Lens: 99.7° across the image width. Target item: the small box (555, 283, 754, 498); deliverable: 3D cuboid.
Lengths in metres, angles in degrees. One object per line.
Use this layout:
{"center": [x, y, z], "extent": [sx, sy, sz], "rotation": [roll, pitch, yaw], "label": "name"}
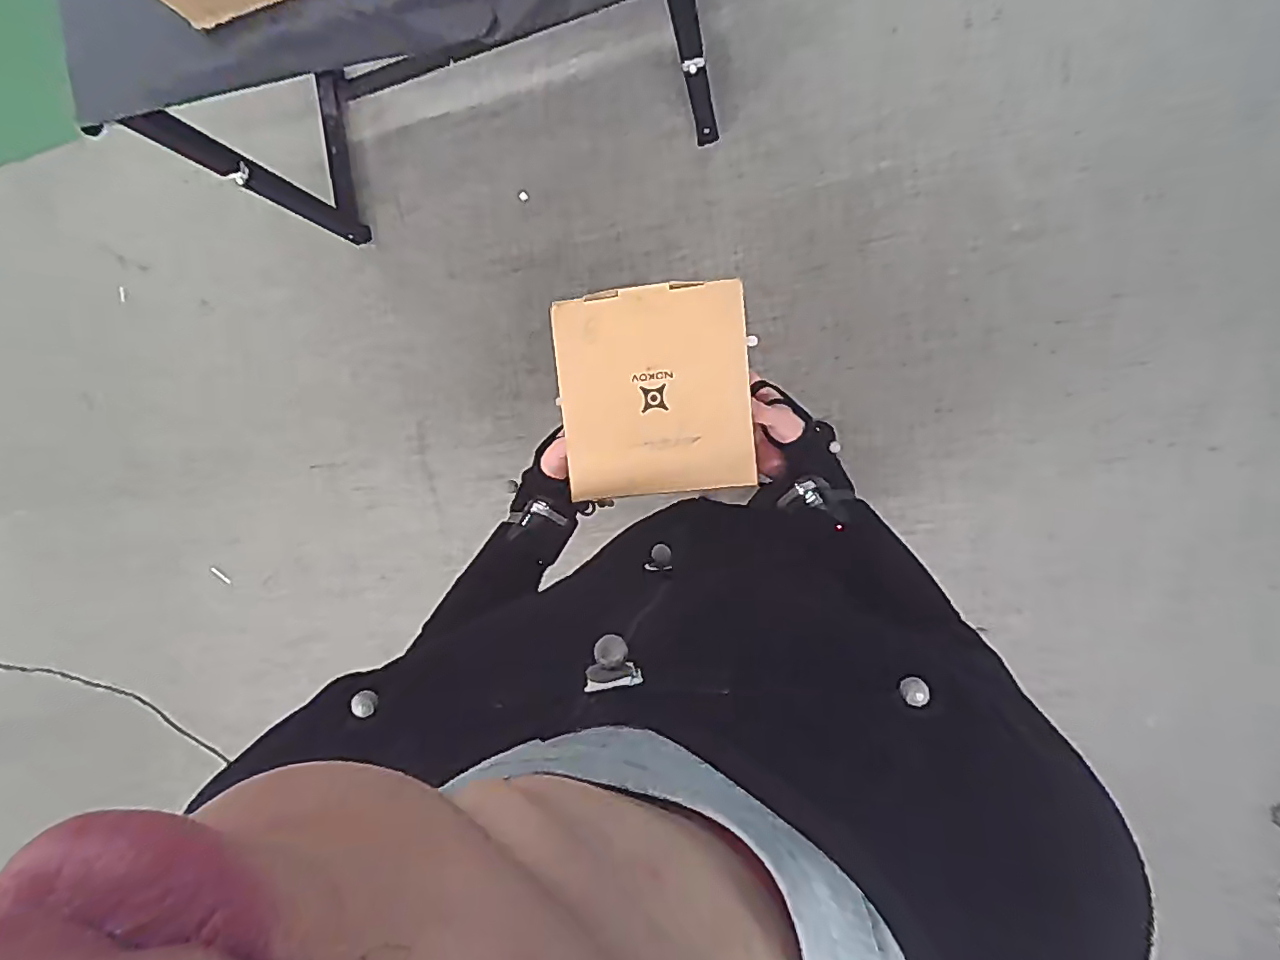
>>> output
{"center": [0.021, -0.083, 0.544], "extent": [0.168, 0.176, 0.179], "rotation": [-4, 97, 8], "label": "small box"}
